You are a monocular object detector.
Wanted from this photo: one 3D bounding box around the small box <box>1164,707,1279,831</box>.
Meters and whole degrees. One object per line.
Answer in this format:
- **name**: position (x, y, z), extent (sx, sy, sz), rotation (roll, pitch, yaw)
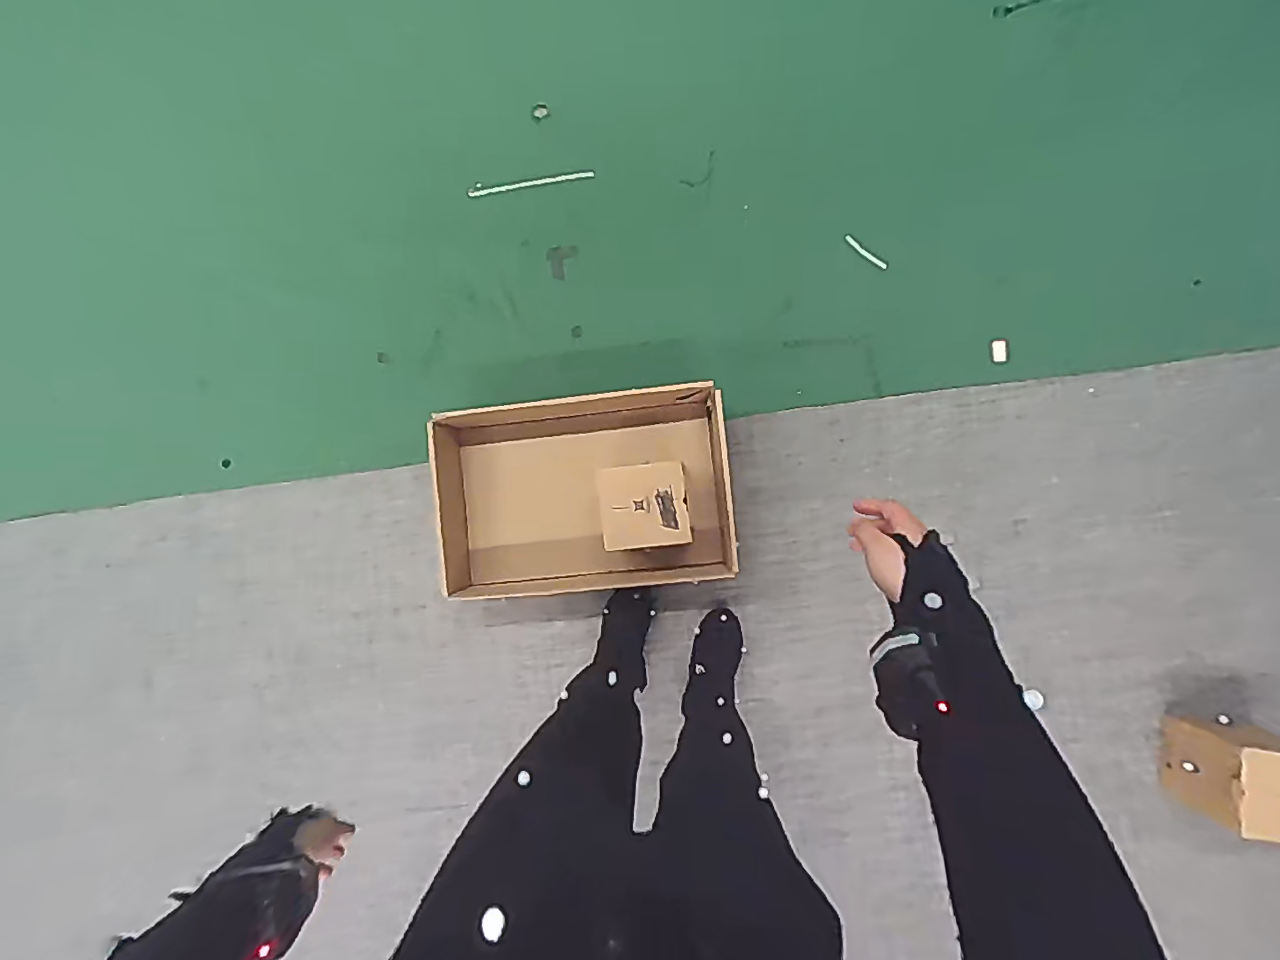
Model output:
- **small box**: position (1.200, 0.567, 1.070), extent (0.179, 0.176, 0.168), rotation (4, 89, 5)
